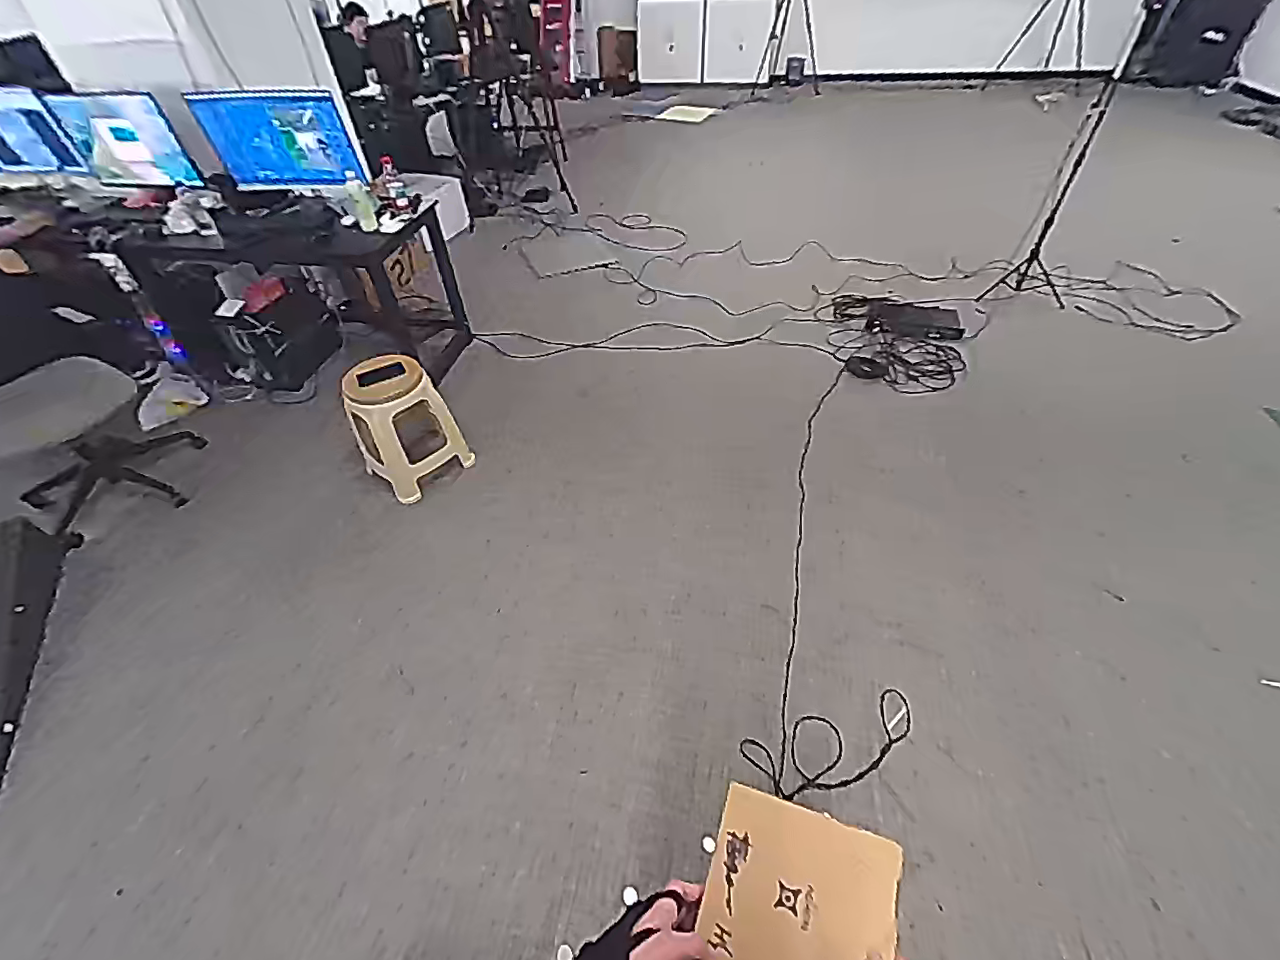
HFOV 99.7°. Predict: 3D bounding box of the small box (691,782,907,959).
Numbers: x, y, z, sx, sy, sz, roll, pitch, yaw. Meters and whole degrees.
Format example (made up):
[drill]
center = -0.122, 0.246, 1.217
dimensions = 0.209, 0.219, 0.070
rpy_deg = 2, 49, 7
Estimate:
[small box]
center = 0.170, 0.458, 0.582
dimensions = 0.179, 0.176, 0.168
rpy_deg = 10, 53, 22
